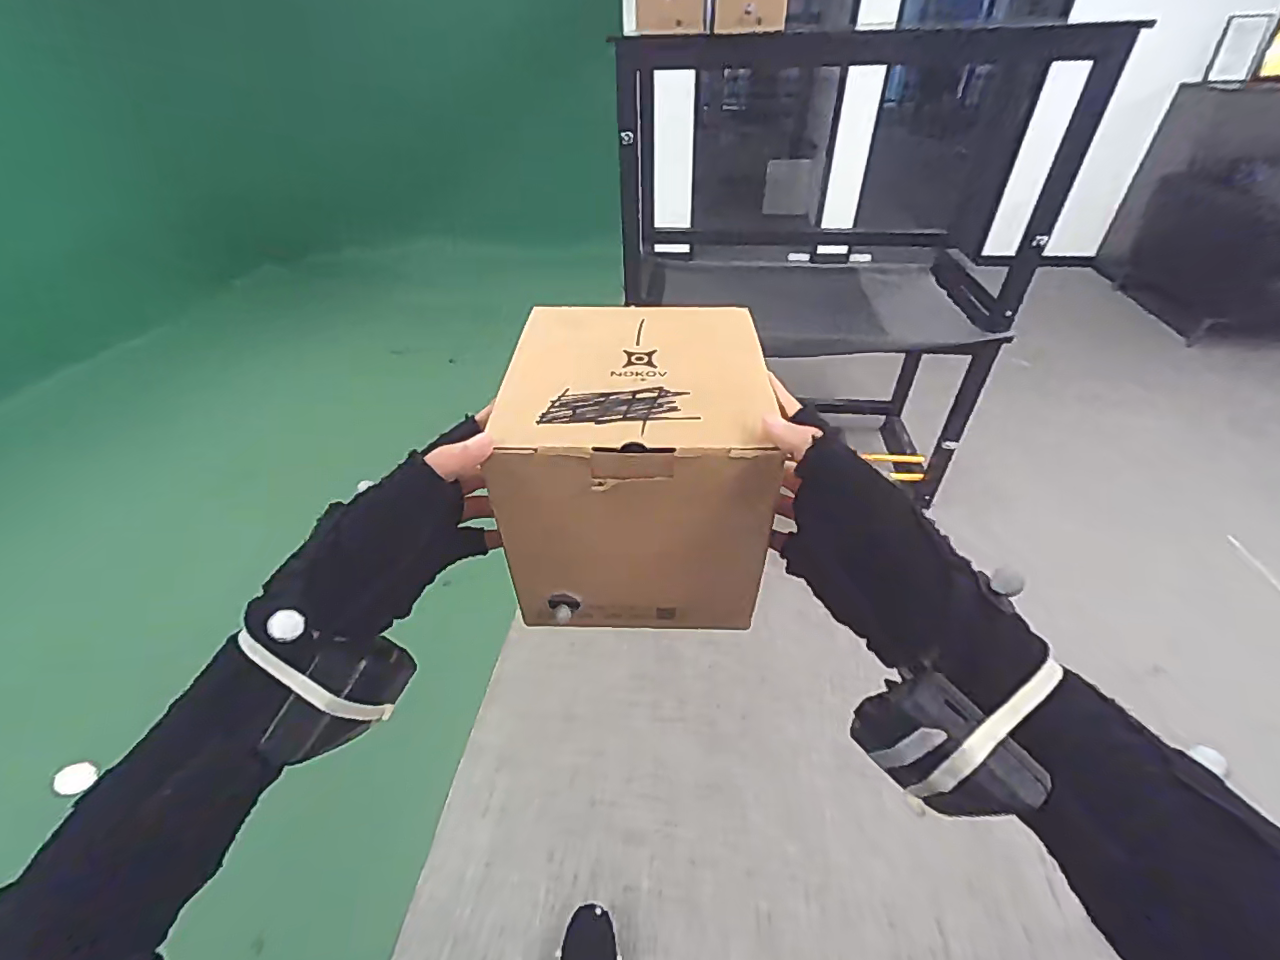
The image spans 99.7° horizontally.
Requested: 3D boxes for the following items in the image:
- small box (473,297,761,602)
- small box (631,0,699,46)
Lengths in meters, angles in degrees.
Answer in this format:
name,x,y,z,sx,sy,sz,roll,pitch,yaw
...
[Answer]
name,x,y,z,sx,sy,sz,roll,pitch,yaw
small box,-0.008,-0.024,0.412,0.168,0.176,0.179,1,41,2
small box,0.060,-1.200,1.354,0.168,0.176,0.179,-1,40,-1
